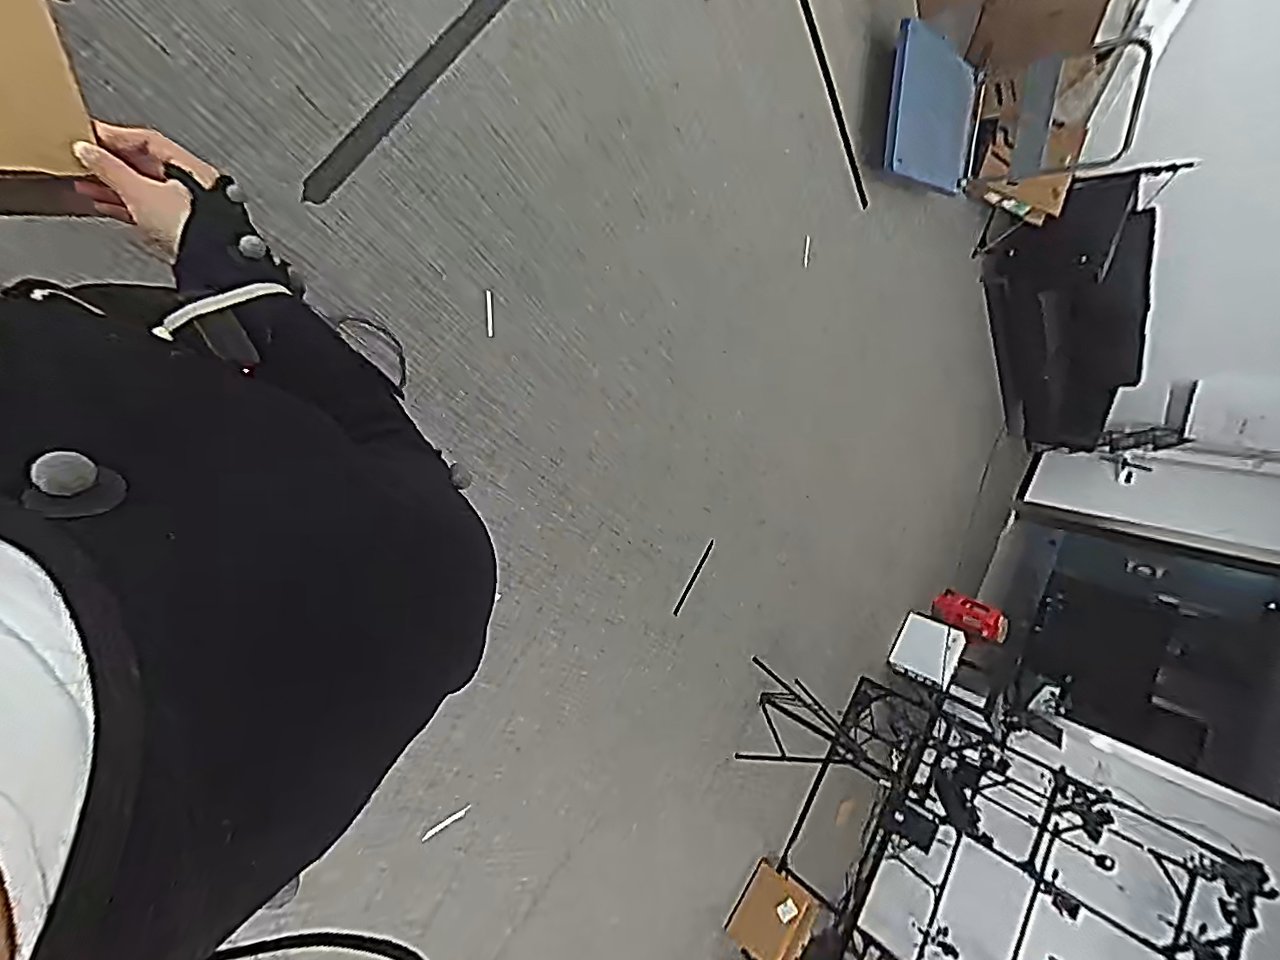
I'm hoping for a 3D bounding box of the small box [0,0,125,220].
[{"bbox_3d":[-0.483,-0.285,0.358,0.168,0.176,0.179,-20,115,-40],"label":"small box"}]
